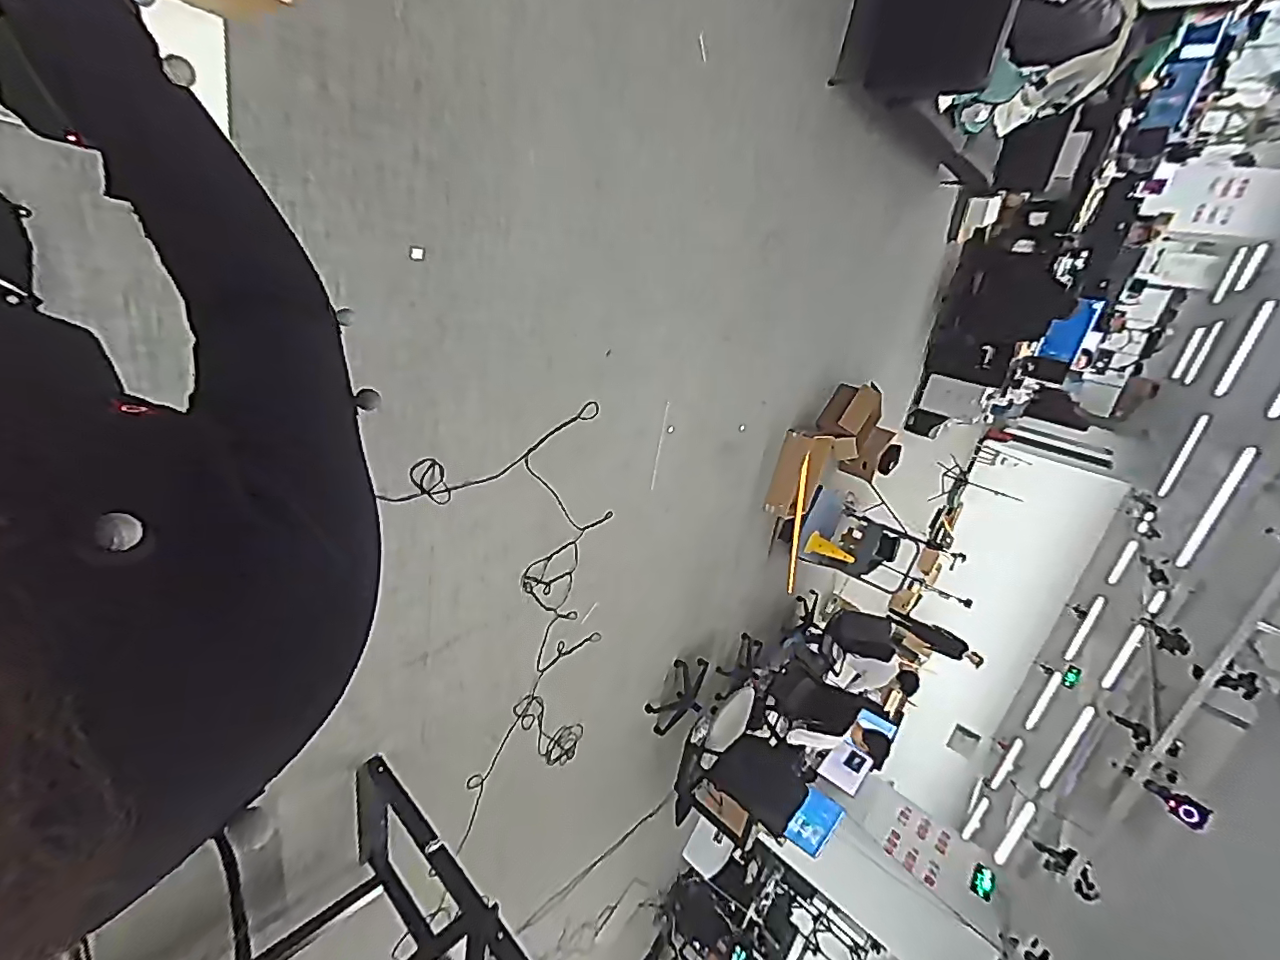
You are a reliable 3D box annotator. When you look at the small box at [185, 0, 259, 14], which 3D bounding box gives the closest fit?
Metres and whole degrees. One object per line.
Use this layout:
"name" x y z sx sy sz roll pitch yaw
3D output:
"small box" -0.457 -0.577 0.504 0.179 0.176 0.168 -11 120 -49
